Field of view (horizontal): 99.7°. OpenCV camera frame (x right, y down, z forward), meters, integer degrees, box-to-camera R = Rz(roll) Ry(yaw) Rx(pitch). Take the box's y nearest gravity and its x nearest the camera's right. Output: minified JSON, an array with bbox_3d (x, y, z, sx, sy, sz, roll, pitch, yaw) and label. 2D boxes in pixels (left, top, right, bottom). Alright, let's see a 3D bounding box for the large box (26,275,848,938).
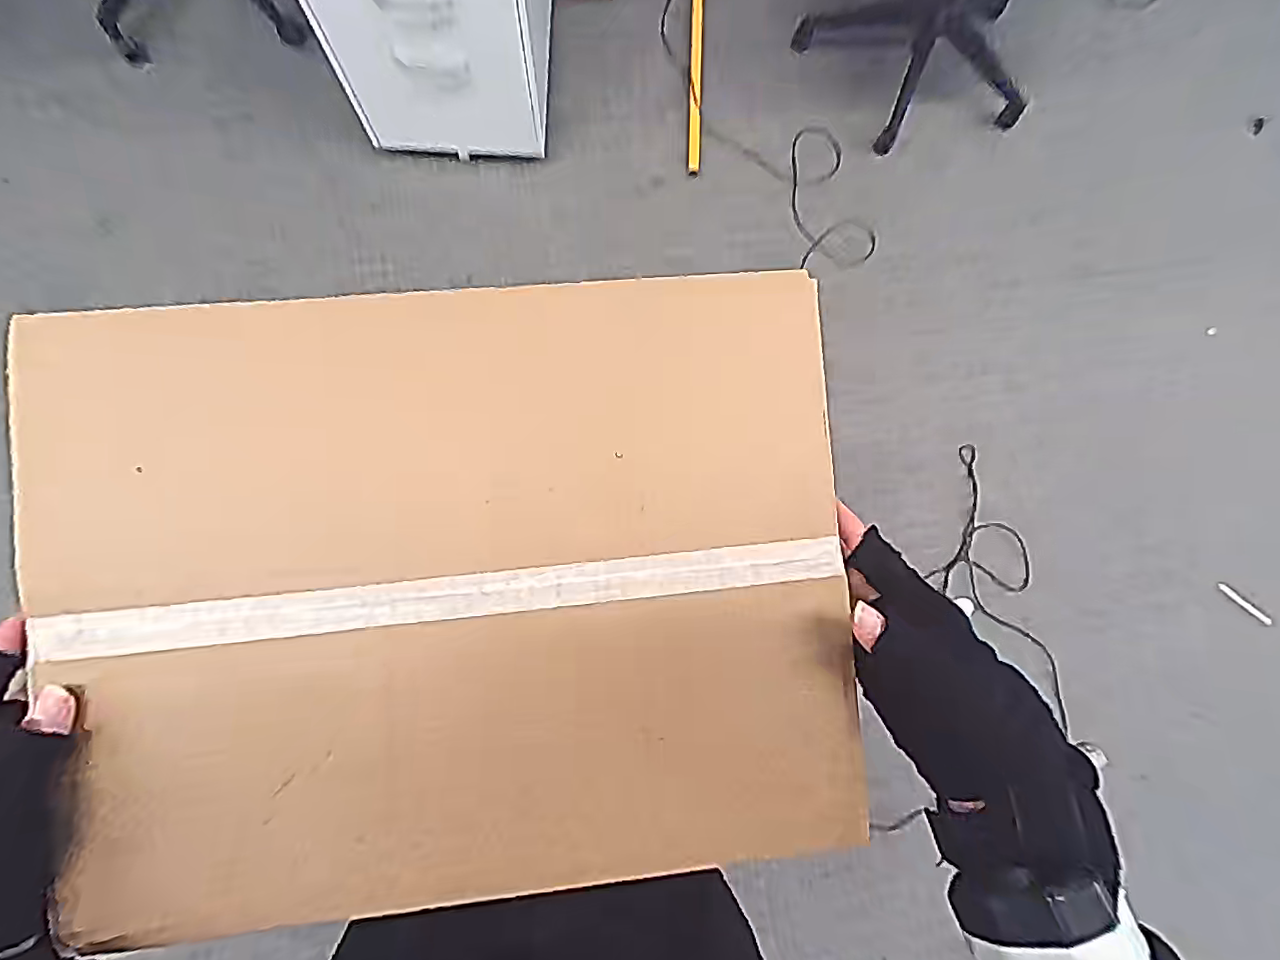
[{"bbox_3d":[-0.104,0.058,0.431,0.408,0.320,0.320,-5,89,-4],"label":"large box"}]
